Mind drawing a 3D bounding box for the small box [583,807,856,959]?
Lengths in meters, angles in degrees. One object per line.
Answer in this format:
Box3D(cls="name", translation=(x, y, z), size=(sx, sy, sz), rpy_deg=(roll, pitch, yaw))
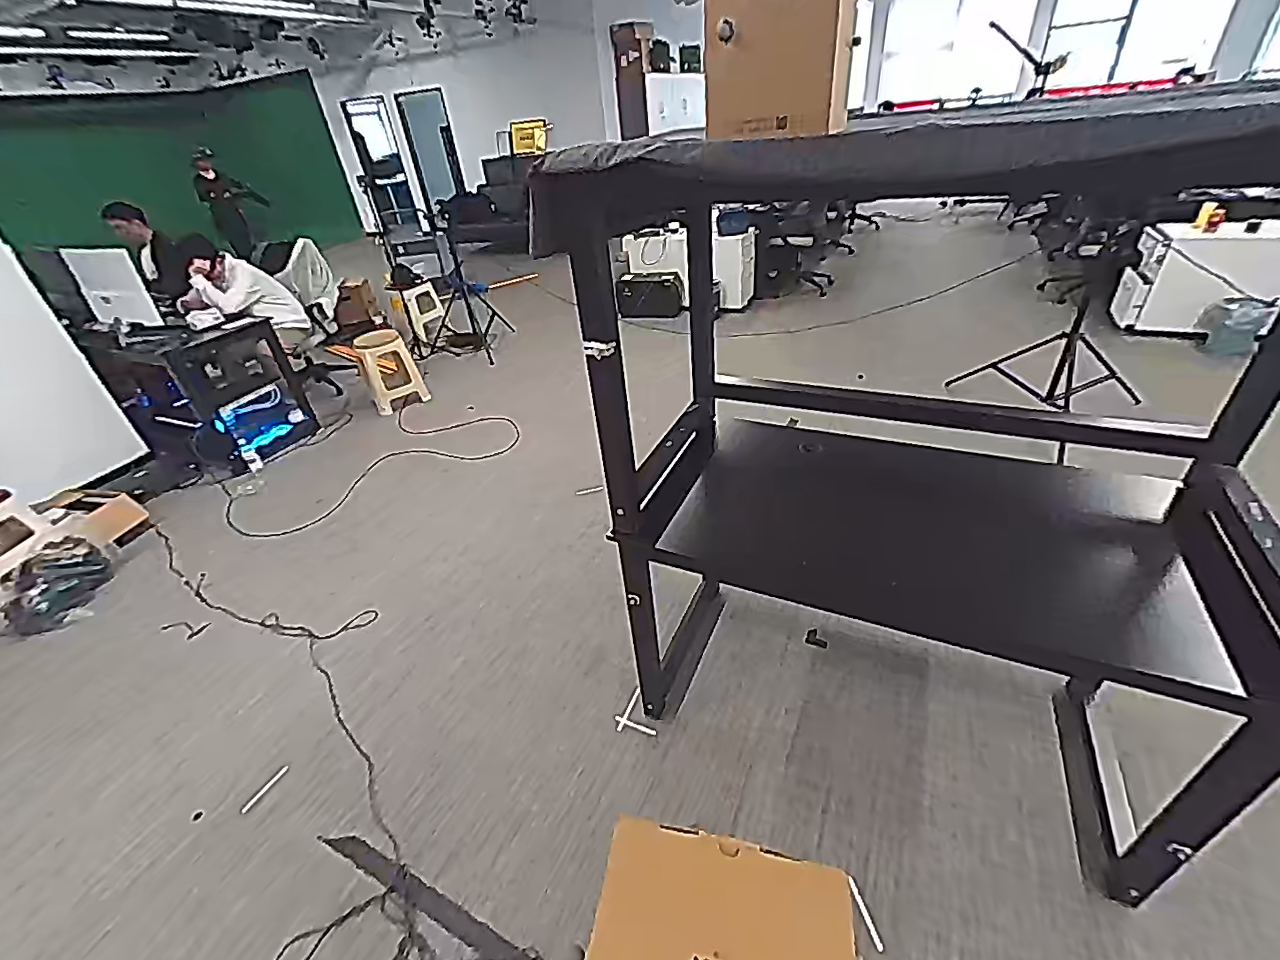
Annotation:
Box3D(cls="small box", translation=(0.045, 0.367, 0.362), size=(0.168, 0.176, 0.179), rpy_deg=(8, 32, 9))
